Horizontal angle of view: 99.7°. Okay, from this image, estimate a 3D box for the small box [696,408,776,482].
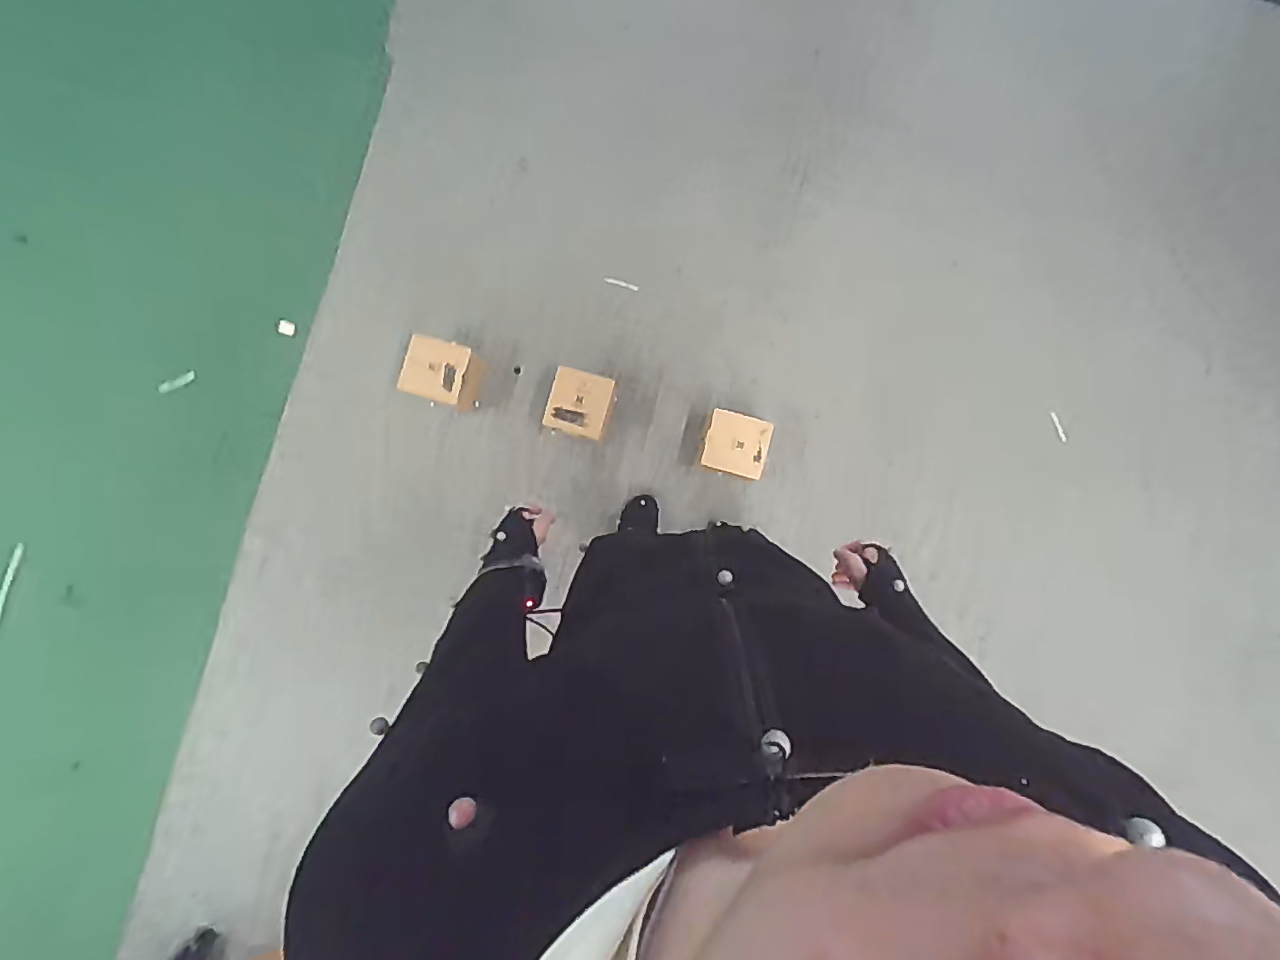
[{"bbox_3d":[0.269,-0.094,1.553,0.179,0.176,0.168,16,88,1],"label":"small box"}]

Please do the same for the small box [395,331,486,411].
[{"bbox_3d":[-0.564,-0.304,1.554,0.179,0.176,0.168,17,88,1],"label":"small box"}]
